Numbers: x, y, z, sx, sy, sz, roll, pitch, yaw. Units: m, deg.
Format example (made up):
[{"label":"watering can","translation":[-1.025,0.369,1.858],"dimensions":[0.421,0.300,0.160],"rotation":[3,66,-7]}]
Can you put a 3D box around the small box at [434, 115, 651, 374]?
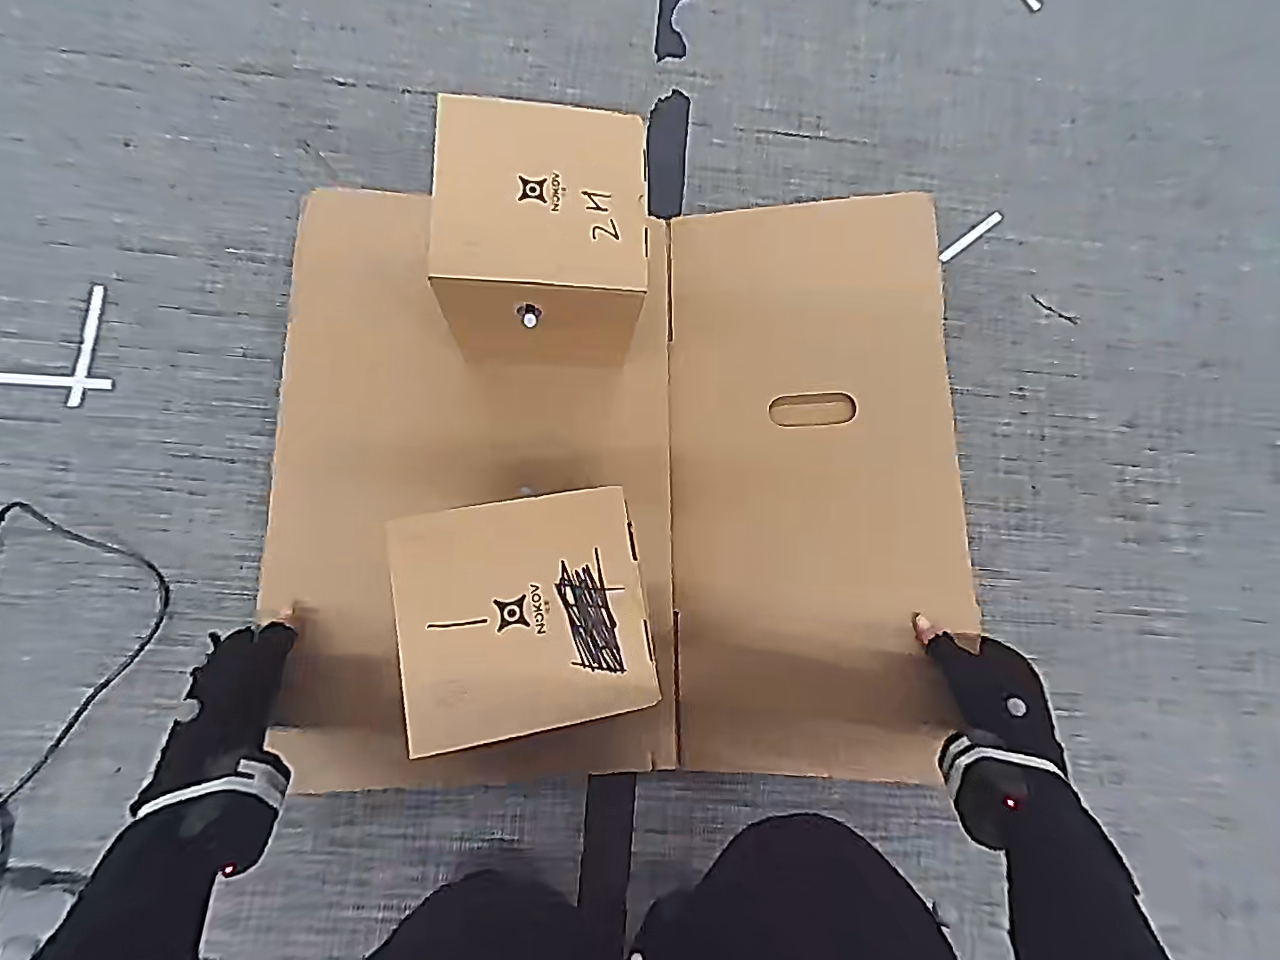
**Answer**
[{"label":"small box","translation":[-0.089,-0.213,0.534],"dimensions":[0.179,0.176,0.168],"rotation":[2,80,-9]}]

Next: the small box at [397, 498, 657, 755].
[{"label":"small box","translation":[-0.095,0.114,0.478],"dimensions":[0.179,0.176,0.168],"rotation":[-8,82,-10]}]
